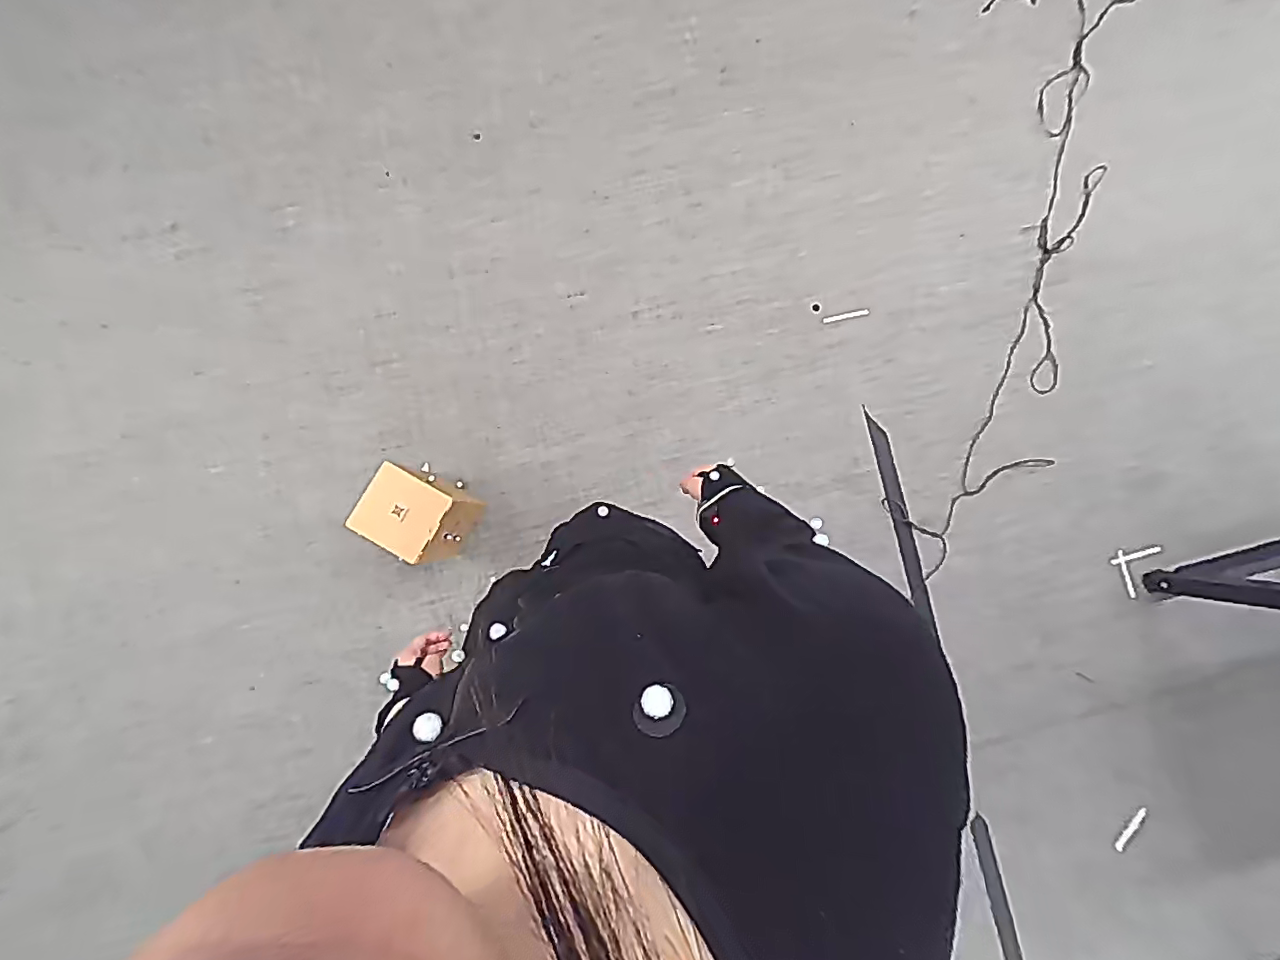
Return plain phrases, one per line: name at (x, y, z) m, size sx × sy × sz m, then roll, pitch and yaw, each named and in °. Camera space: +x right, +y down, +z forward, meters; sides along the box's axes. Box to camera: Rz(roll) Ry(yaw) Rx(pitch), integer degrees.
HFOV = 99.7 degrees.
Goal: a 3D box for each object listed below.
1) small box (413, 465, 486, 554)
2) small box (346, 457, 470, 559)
small box at (-0.533, 0.081, 1.414) m, size 0.179 × 0.176 × 0.168 m, roll 30°, pitch 85°, yaw 0°
small box at (-0.526, 0.068, 1.251) m, size 0.179 × 0.176 × 0.168 m, roll 30°, pitch 85°, yaw -1°
